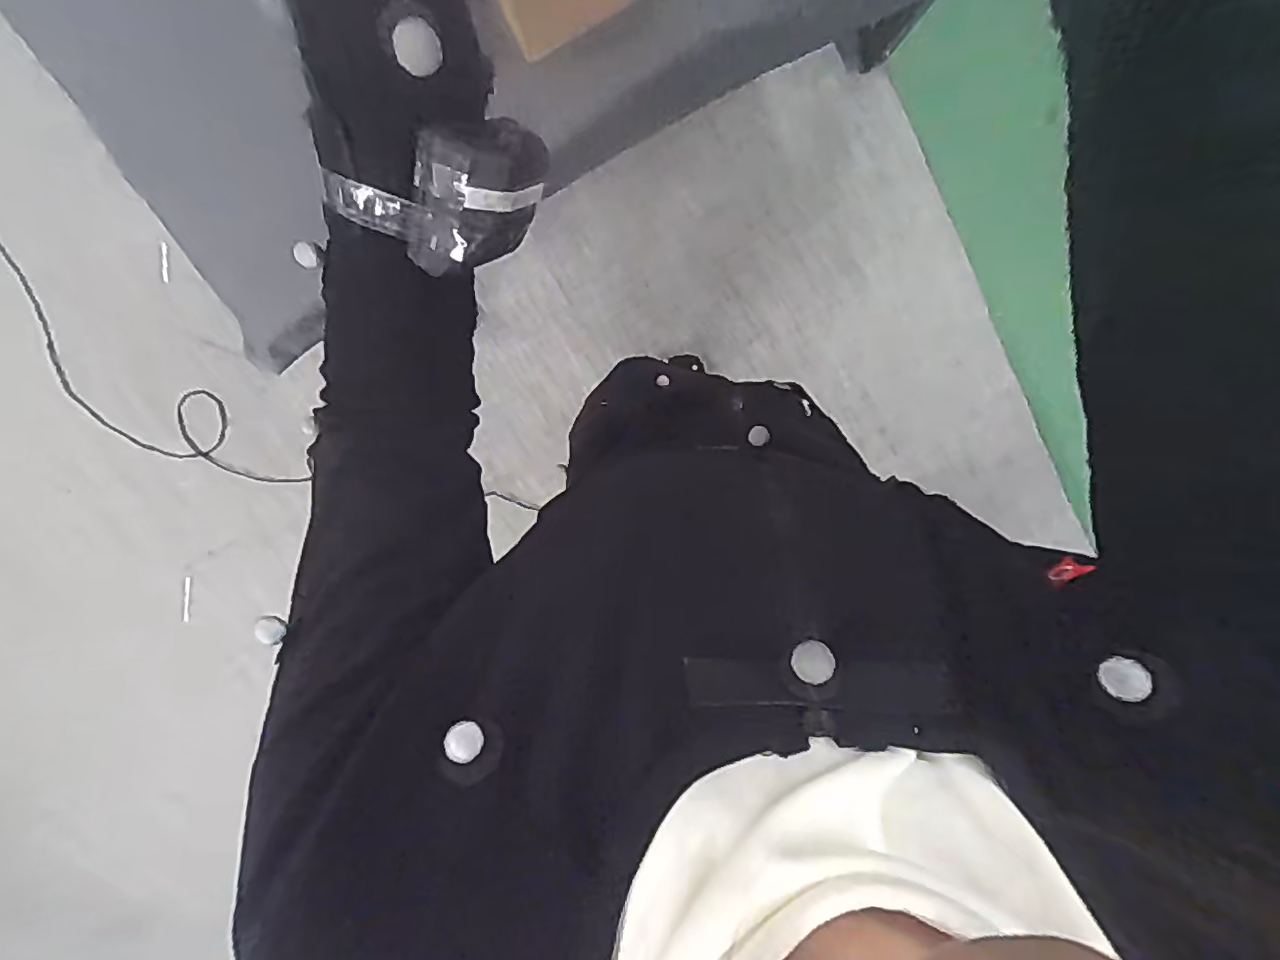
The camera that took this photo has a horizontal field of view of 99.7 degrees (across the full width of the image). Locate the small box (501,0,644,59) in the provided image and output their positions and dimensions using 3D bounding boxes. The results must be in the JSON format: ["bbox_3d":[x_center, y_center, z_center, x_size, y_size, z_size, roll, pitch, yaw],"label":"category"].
[{"bbox_3d":[-0.078,-0.536,0.484,0.179,0.176,0.168,-27,101,7],"label":"small box"}]
